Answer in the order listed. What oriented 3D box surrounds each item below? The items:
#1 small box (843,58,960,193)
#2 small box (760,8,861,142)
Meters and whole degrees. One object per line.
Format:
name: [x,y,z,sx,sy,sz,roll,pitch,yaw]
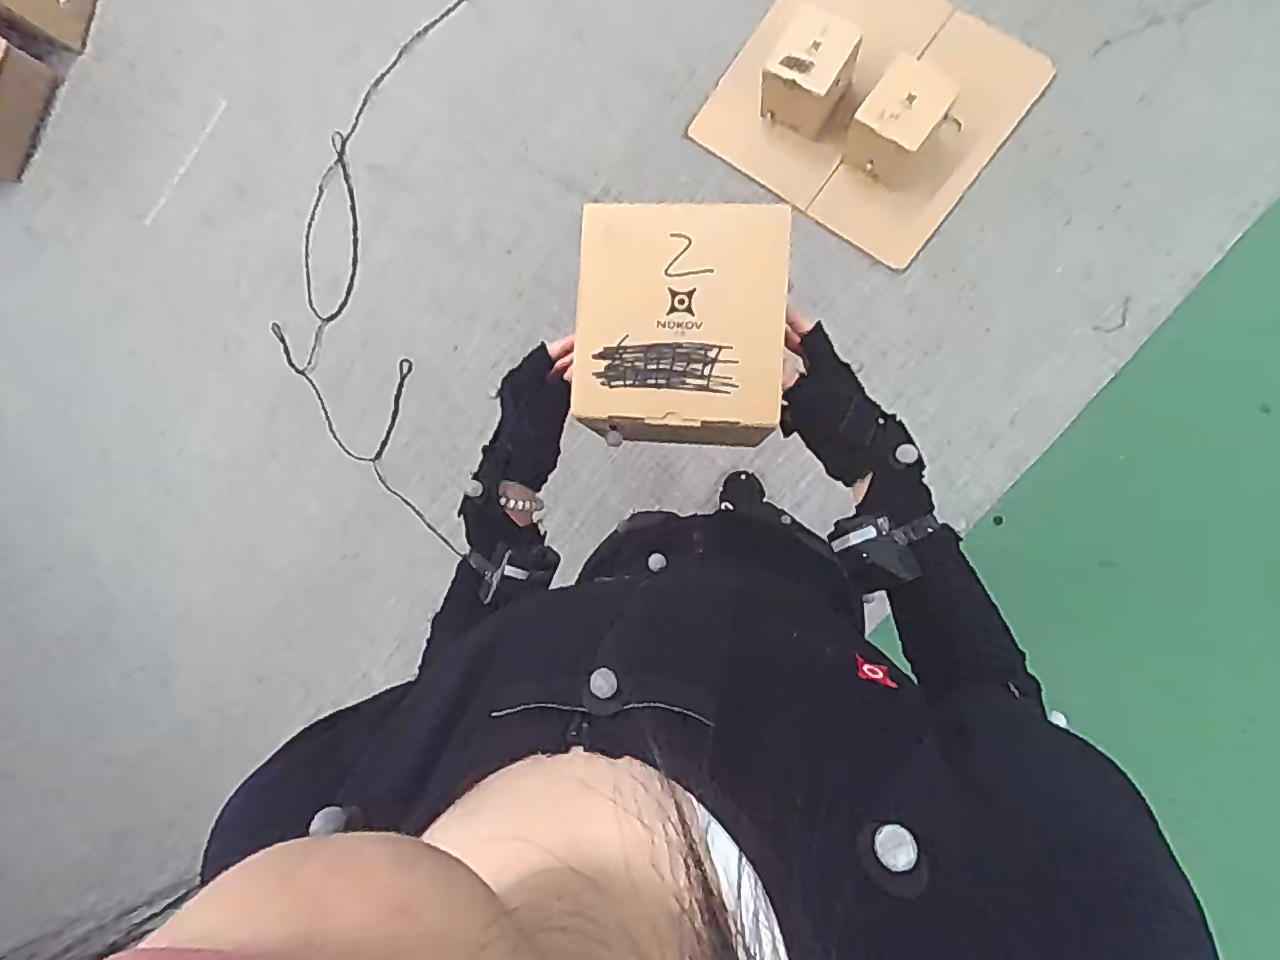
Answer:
small box: [0.616,-0.842,1.302,0.168,0.176,0.179,38,96,9]
small box: [0.412,-0.987,1.335,0.168,0.176,0.179,33,95,9]
